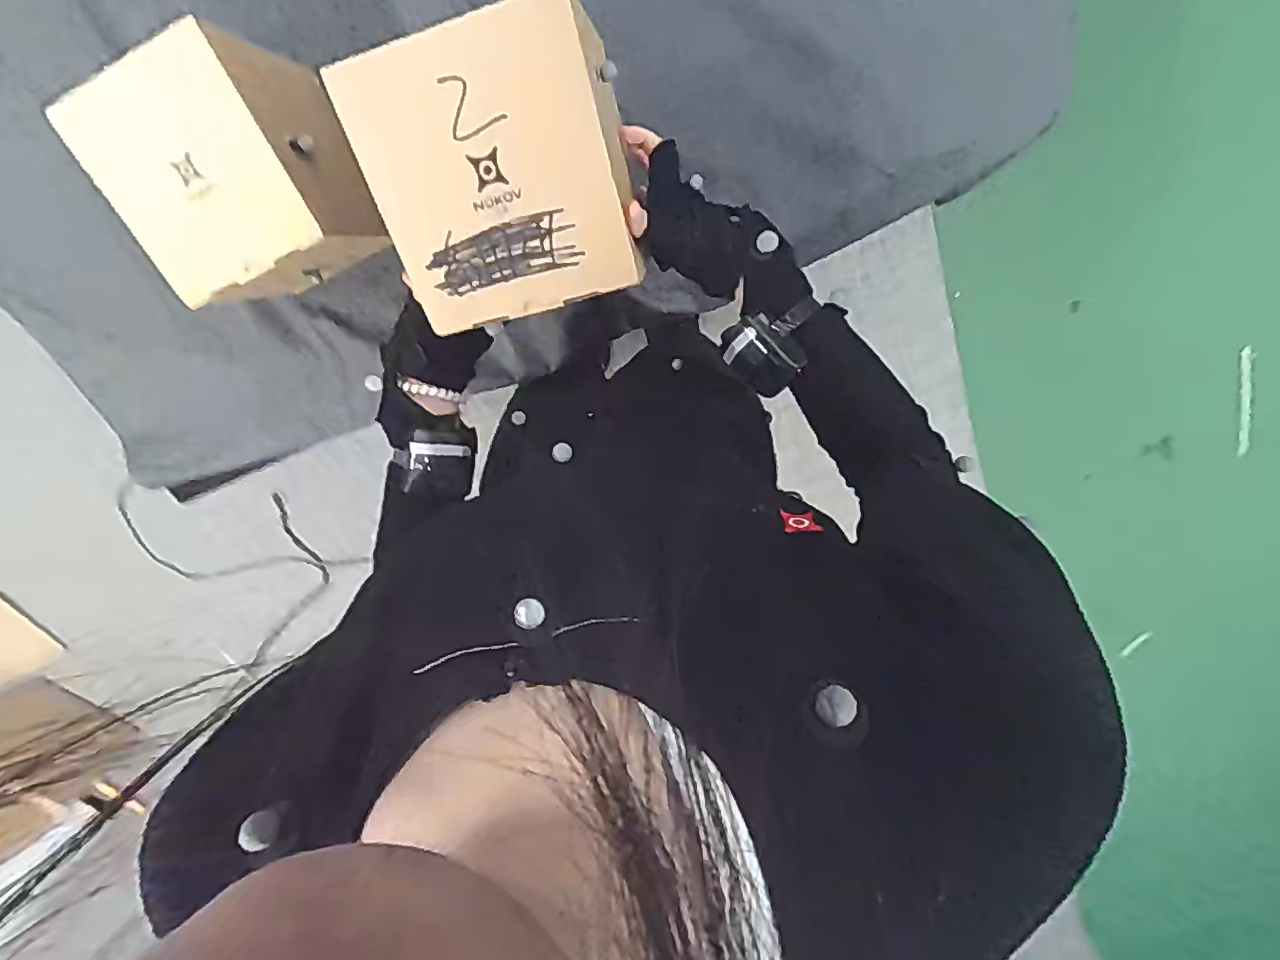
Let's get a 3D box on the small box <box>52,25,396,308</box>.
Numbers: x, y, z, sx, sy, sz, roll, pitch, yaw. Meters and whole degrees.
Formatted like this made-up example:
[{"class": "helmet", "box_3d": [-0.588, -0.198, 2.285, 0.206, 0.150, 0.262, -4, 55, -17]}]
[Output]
[{"class": "small box", "box_3d": [-0.390, -0.297, 0.548, 0.168, 0.176, 0.179, -21, 113, 11]}]
